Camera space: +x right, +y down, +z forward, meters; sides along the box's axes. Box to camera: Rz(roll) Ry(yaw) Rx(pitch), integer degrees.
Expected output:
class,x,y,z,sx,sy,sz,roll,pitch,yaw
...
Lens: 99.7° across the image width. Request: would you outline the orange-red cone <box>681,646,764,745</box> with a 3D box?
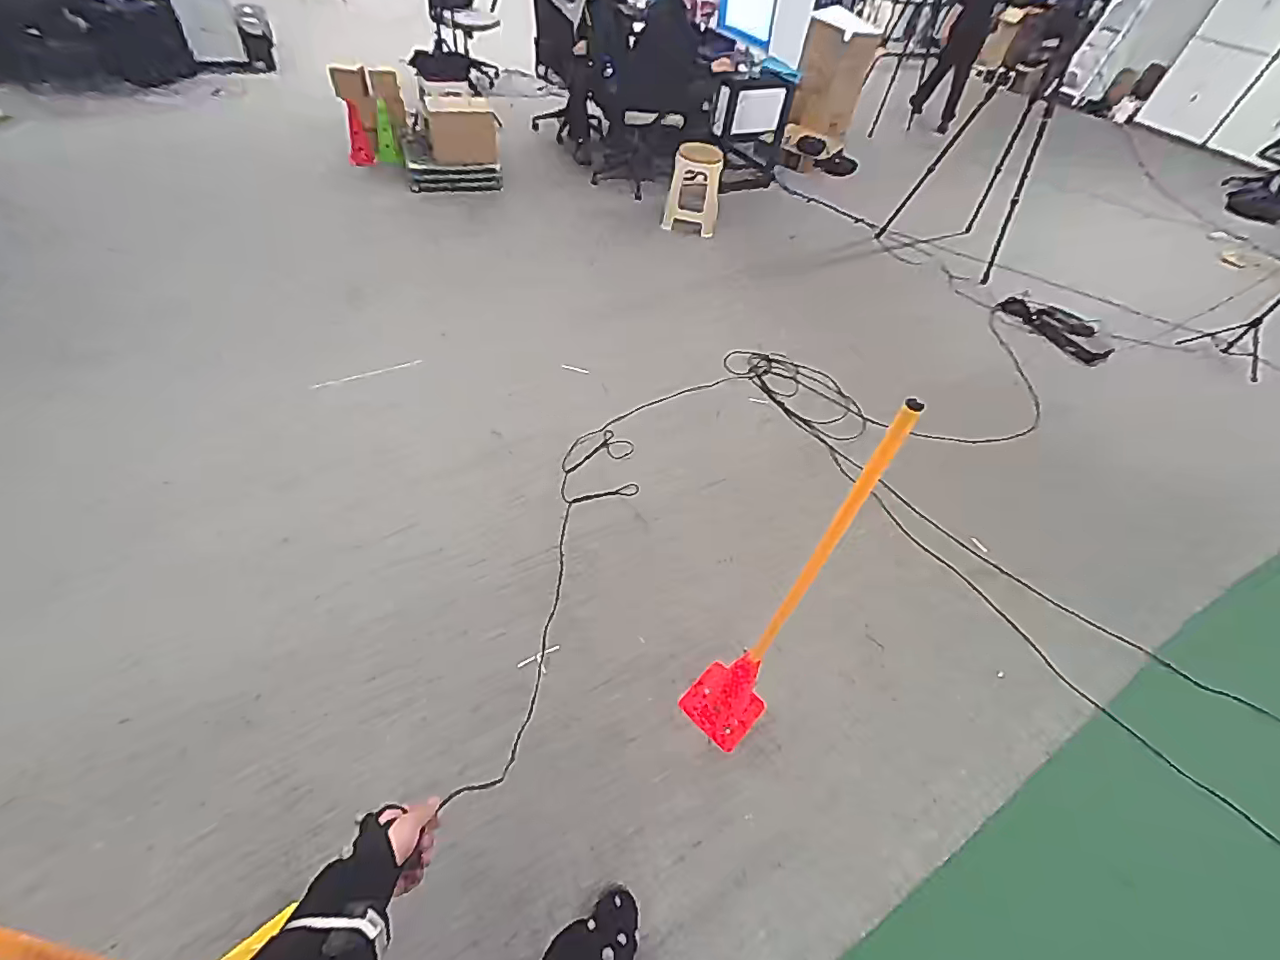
class,x,y,z,sx,sy,sz,roll,pitch,yaw
orange-red cone,0.267,0.541,1.474,0.198,0.360,0.199,41,54,23
